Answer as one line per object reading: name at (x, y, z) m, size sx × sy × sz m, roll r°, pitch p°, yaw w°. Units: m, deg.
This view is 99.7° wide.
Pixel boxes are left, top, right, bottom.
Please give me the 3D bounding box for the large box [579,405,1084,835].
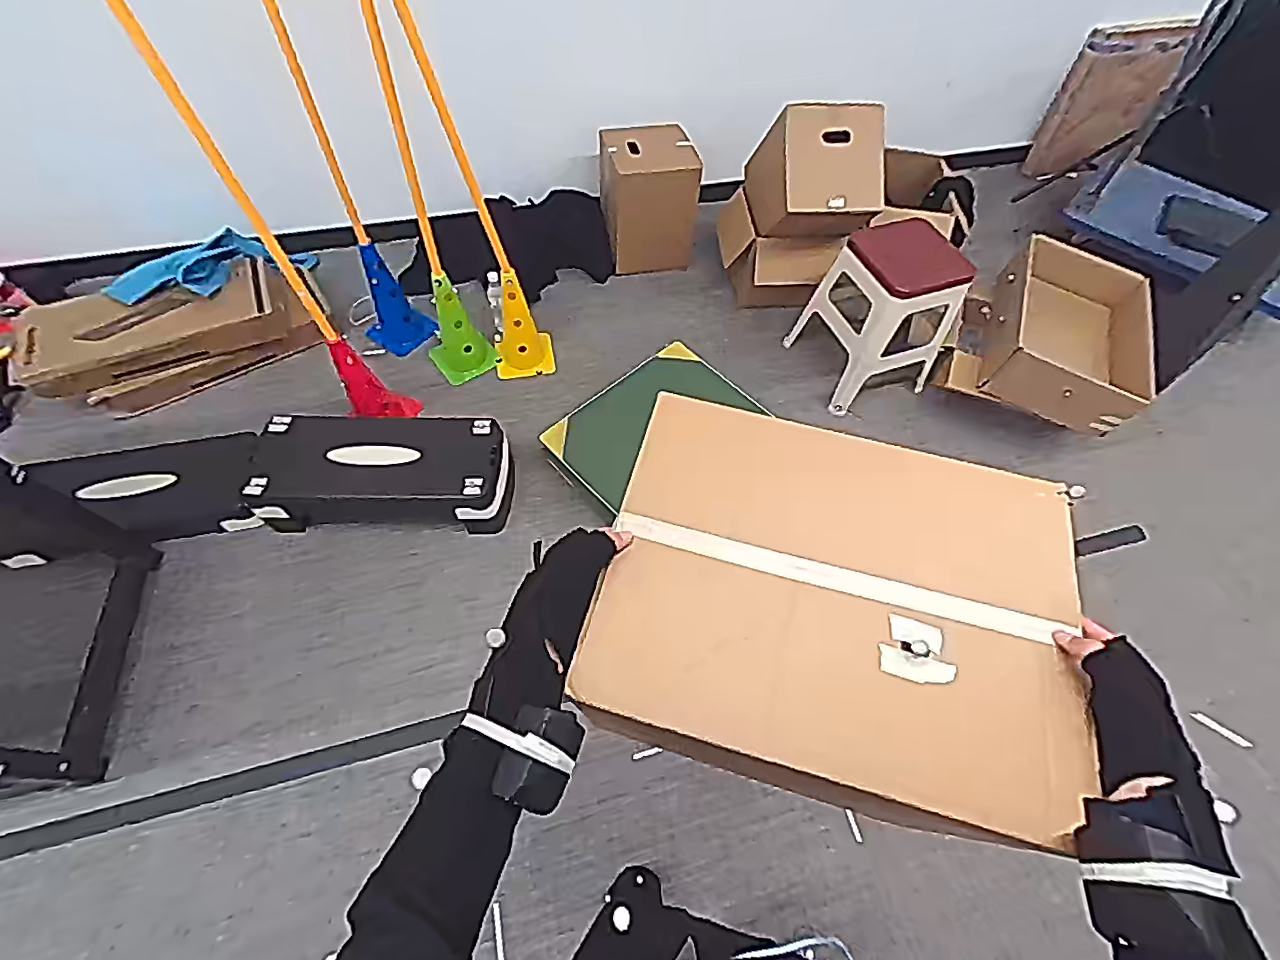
large box at (0.172, 0.162, 0.620) m, size 0.408 × 0.320 × 0.320 m, roll 14°, pitch 63°, yaw 6°
